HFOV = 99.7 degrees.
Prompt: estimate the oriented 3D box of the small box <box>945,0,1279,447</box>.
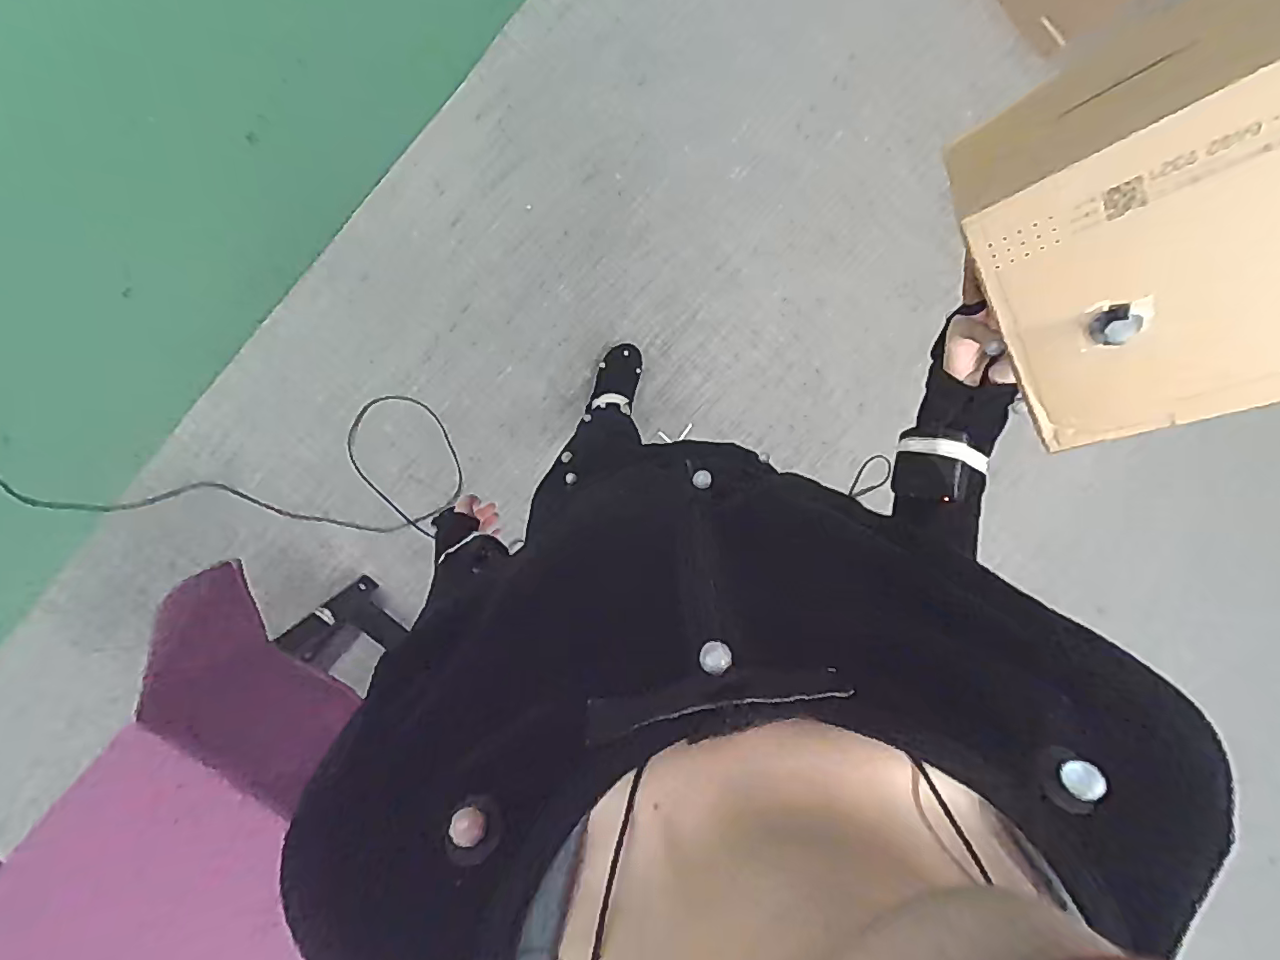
[{"bbox_3d":[0.296,-0.154,0.315,0.168,0.179,0.176,-18,121,37],"label":"small box"}]
